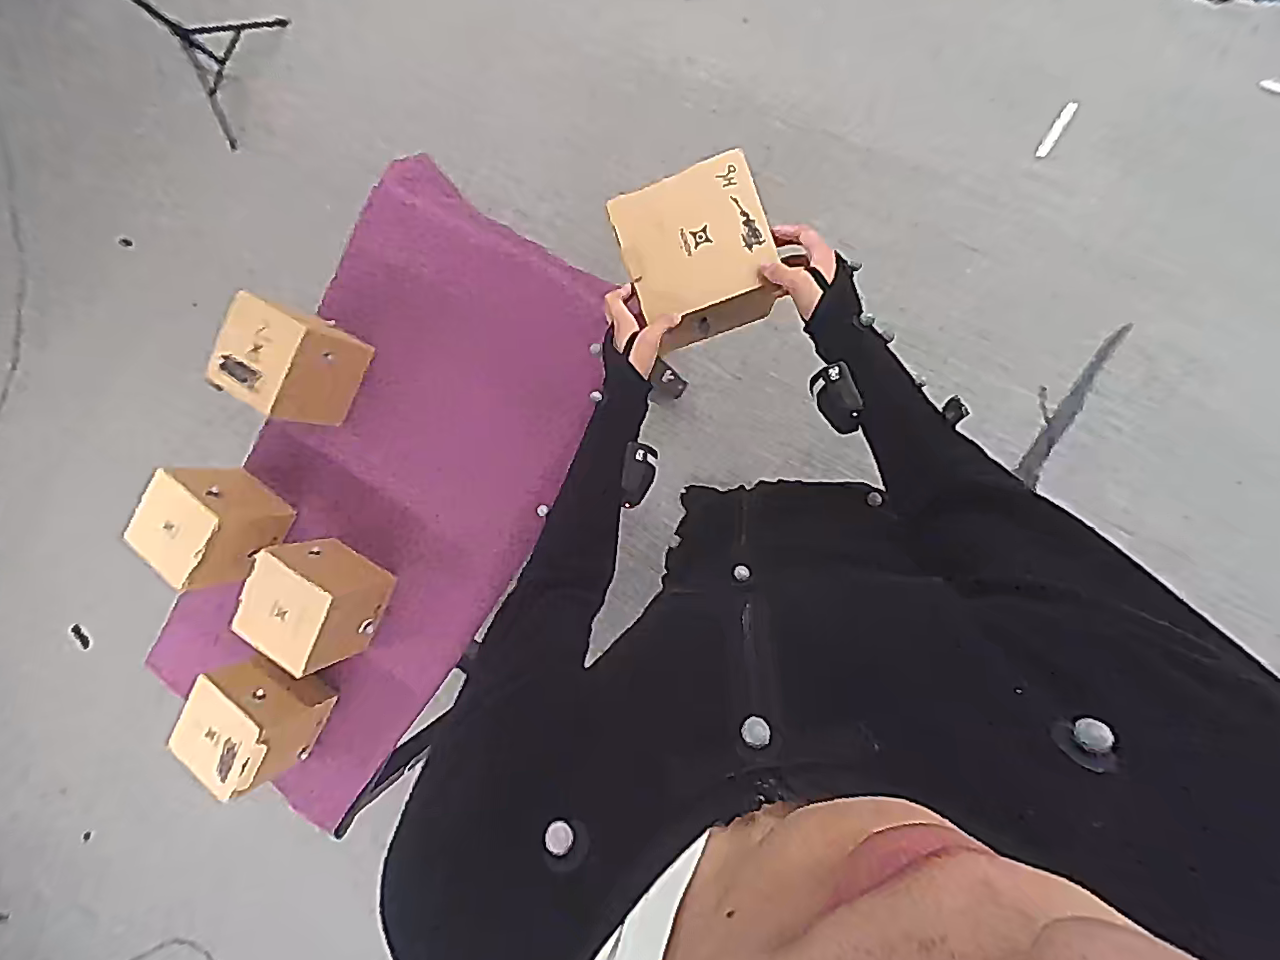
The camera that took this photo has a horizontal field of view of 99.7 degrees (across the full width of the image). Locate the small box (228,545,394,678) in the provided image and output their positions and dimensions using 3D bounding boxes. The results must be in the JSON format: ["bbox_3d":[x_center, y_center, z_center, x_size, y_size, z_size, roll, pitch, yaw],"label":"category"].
[{"bbox_3d":[-0.612,0.235,1.020,0.179,0.176,0.168,27,97,13],"label":"small box"}]

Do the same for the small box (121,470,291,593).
[{"bbox_3d":[-0.852,0.096,1.075,0.179,0.176,0.168,34,97,11],"label":"small box"}]

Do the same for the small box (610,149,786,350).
[{"bbox_3d":[0.078,-0.287,0.718,0.179,0.176,0.168,-17,90,7],"label":"small box"}]

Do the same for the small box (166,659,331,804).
[{"bbox_3d":[-0.750,0.470,1.052,0.179,0.176,0.168,30,97,14],"label":"small box"}]
